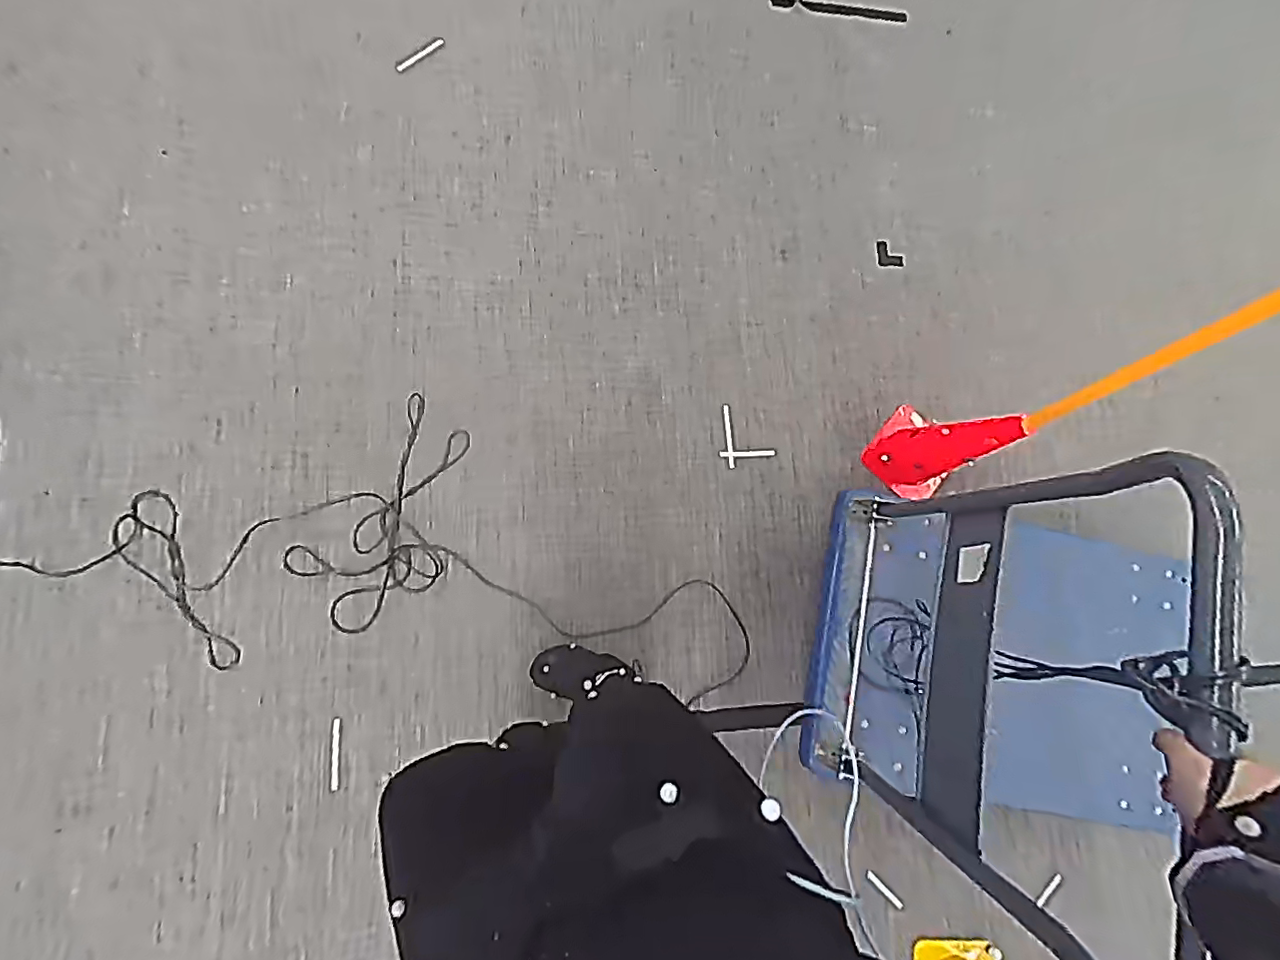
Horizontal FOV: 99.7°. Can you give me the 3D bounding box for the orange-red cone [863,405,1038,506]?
[{"bbox_3d":[0.692,-0.080,1.165,0.199,0.360,0.198,43,80,-2],"label":"orange-red cone"}]
